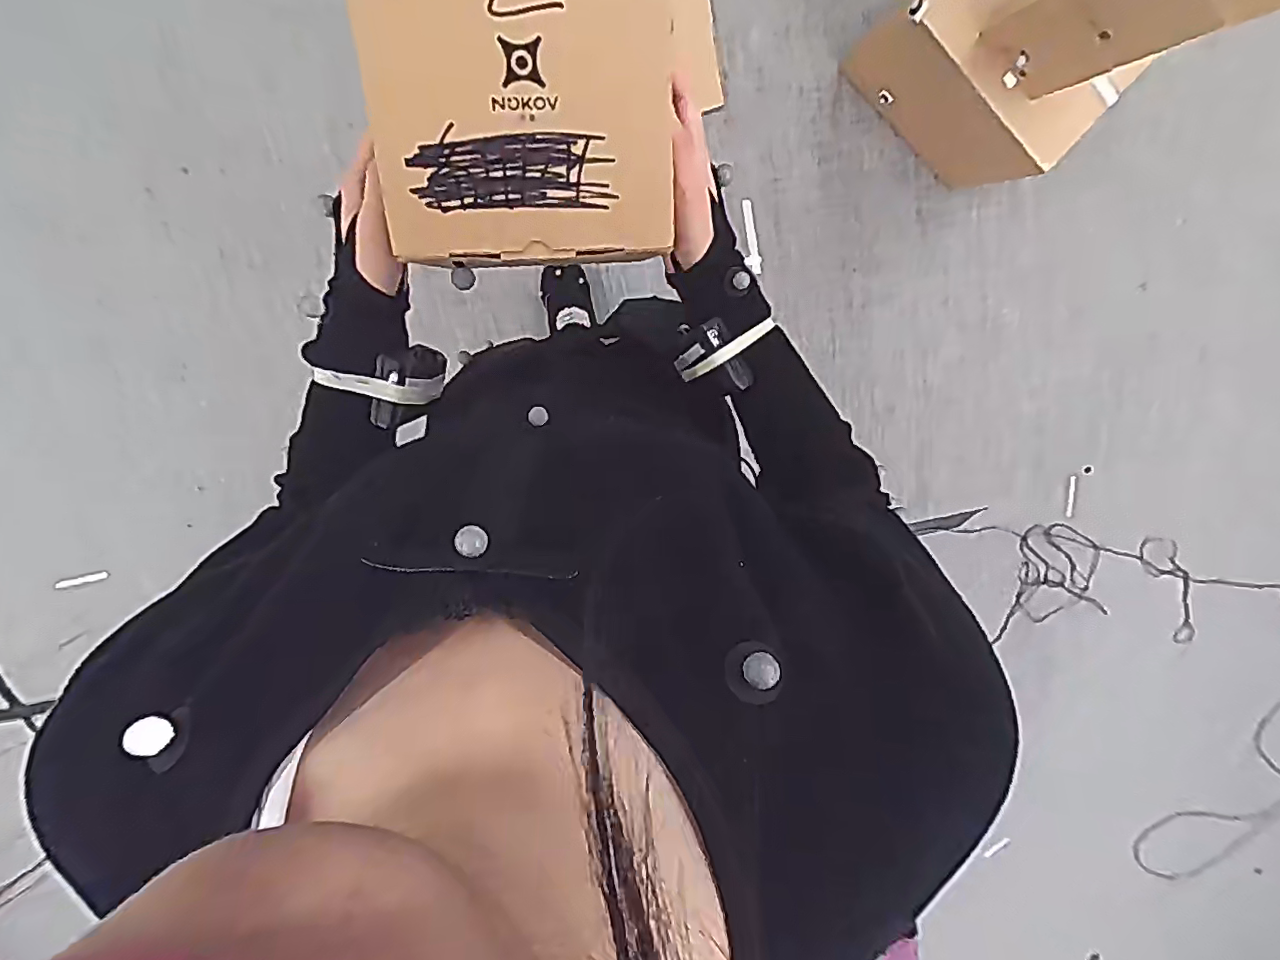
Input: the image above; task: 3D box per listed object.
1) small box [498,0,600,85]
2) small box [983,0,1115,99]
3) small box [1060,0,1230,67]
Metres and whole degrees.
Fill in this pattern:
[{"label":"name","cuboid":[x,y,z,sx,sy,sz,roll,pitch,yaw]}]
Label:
[{"label":"small box","cuboid":[-0.187,-0.932,1.068,0.168,0.176,0.179,-21,112,6]},{"label":"small box","cuboid":[0.719,-0.777,0.882,0.168,0.176,0.179,34,105,-16]},{"label":"small box","cuboid":[0.734,-0.720,0.729,0.168,0.176,0.179,35,104,-16]}]
